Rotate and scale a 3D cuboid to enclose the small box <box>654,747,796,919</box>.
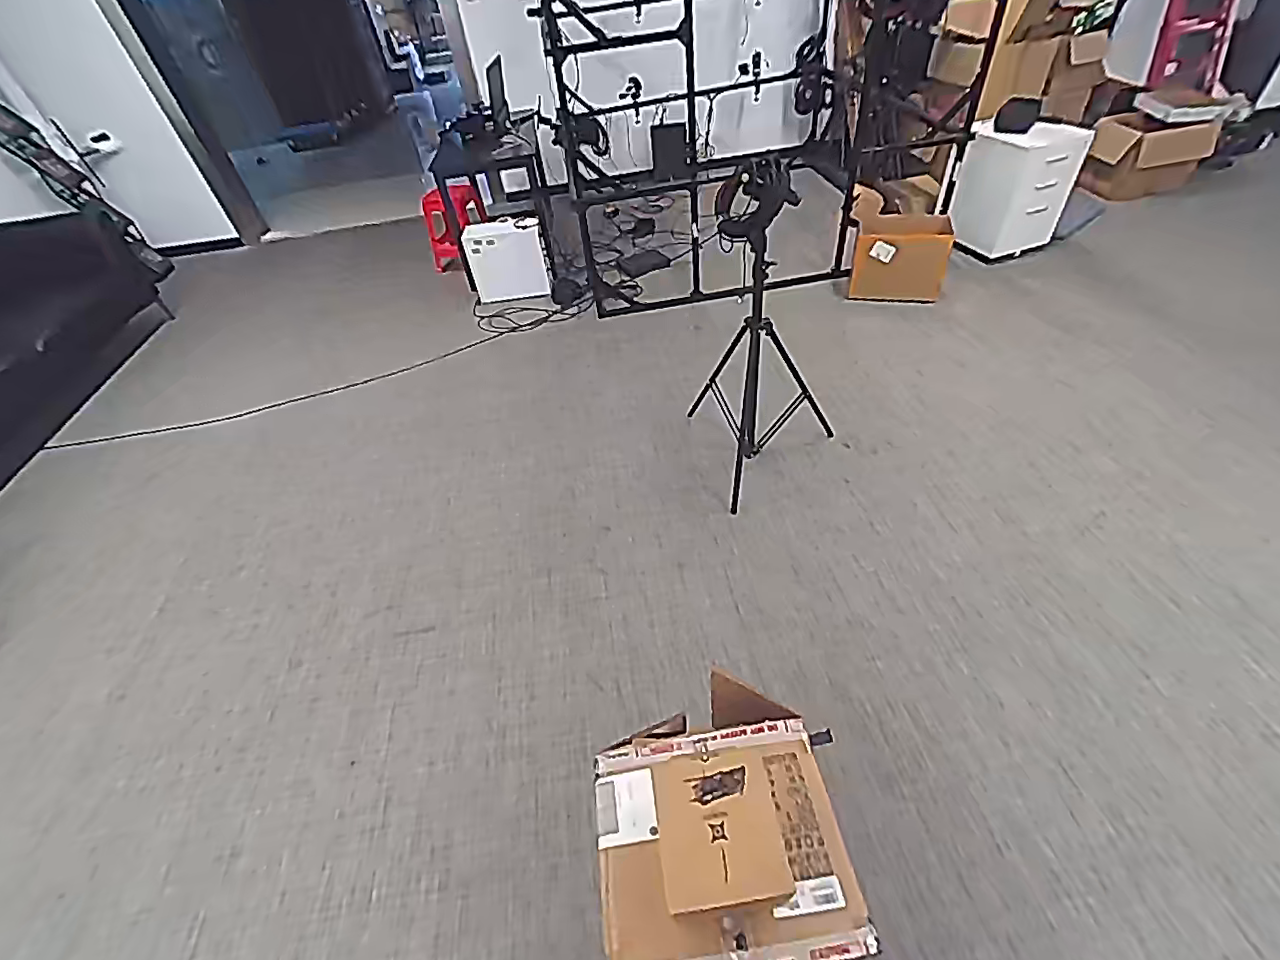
[{"bbox_3d":[0.115,0.521,0.798,0.168,0.176,0.179,-9,48,0],"label":"small box"}]
